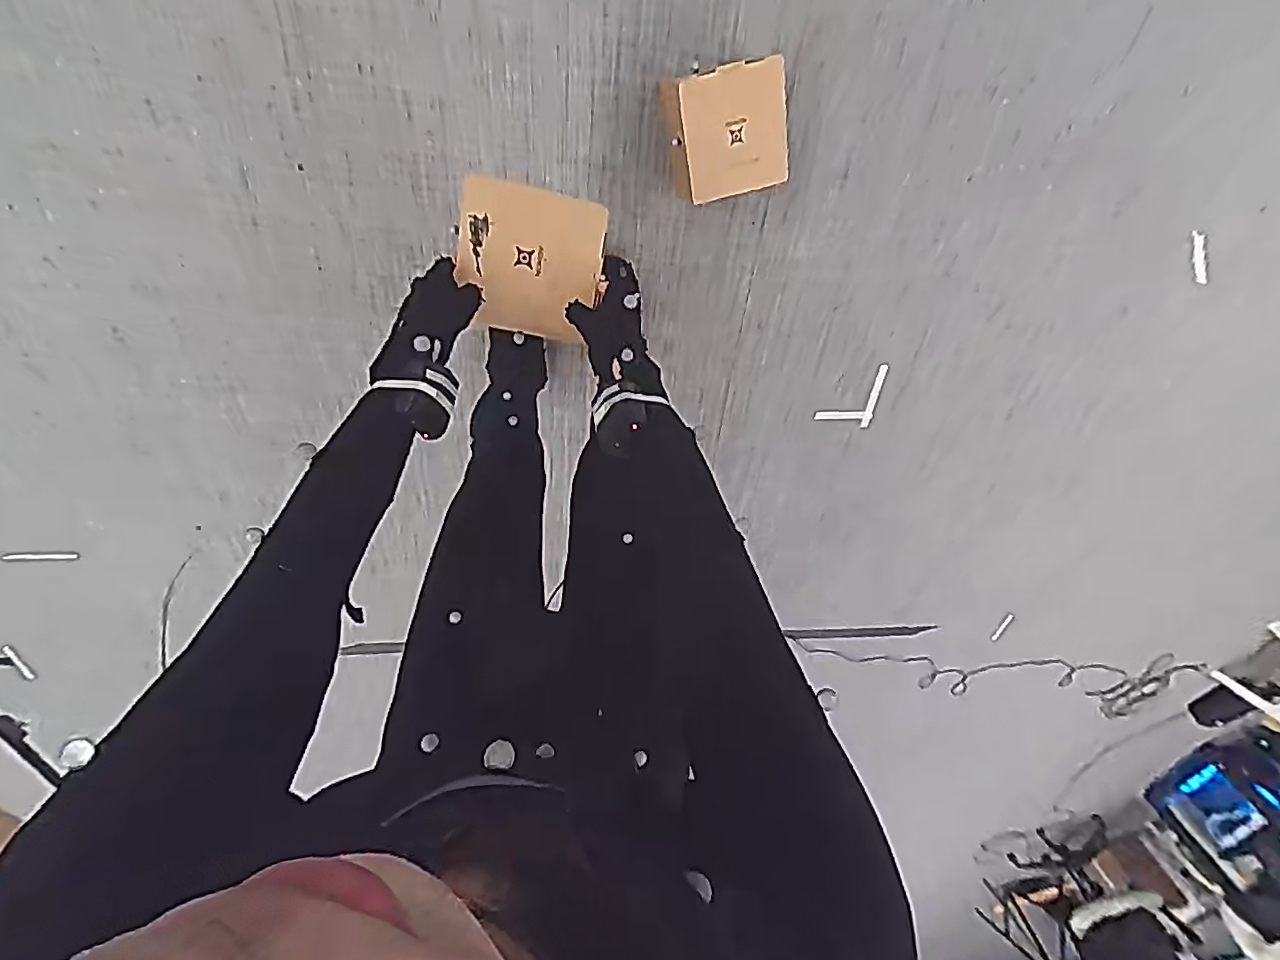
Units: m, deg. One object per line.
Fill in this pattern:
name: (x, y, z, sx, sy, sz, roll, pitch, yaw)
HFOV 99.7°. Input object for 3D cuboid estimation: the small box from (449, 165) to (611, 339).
small box: (-0.152, -0.291, 0.731, 0.179, 0.176, 0.168, 7, 101, -16)

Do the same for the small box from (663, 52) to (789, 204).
small box: (0.141, -0.591, 0.913, 0.168, 0.176, 0.179, -14, 127, 2)
